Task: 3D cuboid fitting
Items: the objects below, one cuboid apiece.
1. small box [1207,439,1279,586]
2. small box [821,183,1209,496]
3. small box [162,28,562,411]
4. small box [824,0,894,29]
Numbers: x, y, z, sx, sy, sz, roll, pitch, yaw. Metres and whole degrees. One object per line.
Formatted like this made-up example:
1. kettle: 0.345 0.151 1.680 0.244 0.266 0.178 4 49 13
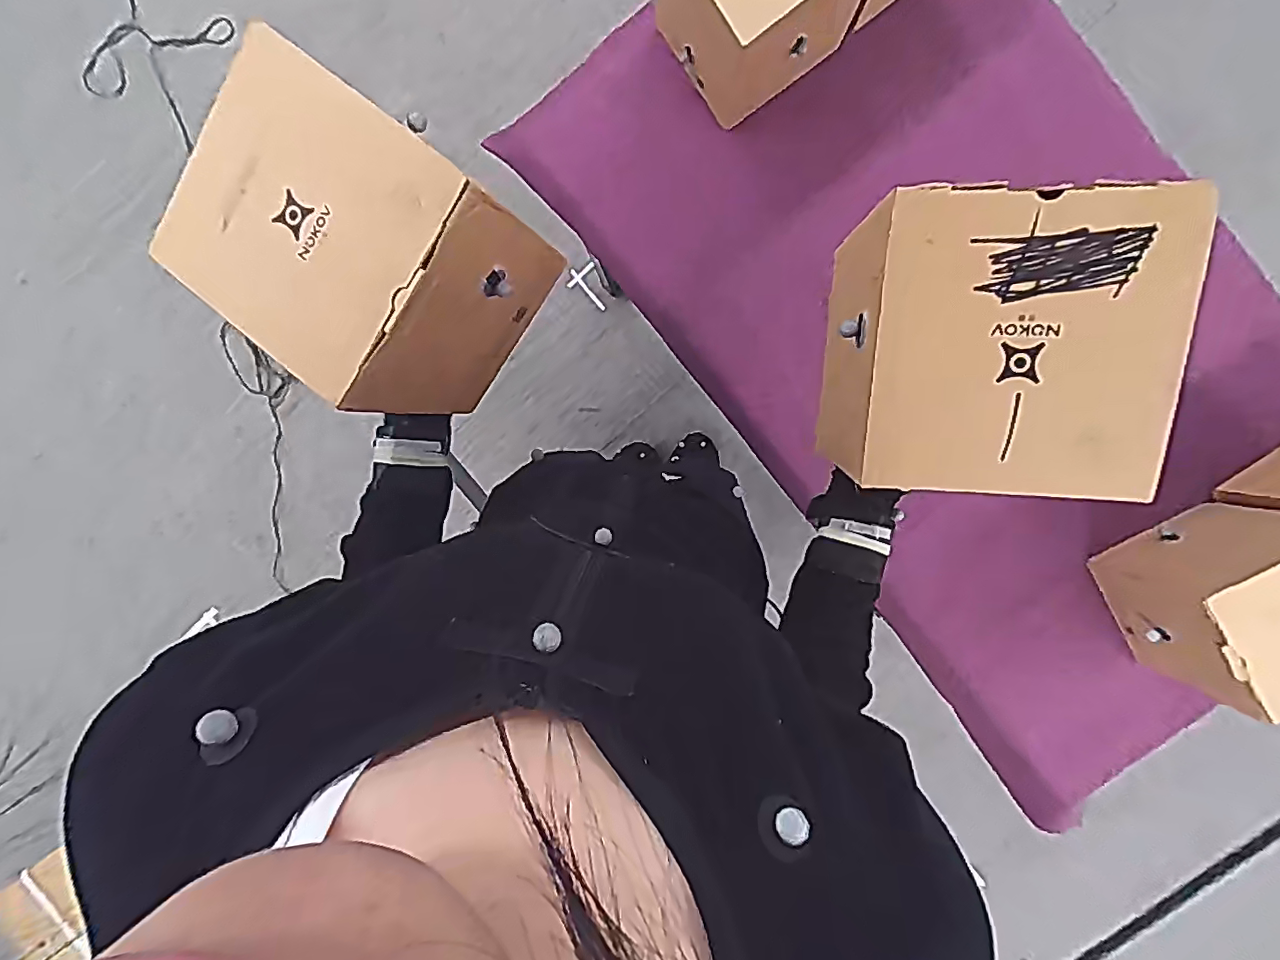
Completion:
1. small box: 0.869 0.035 0.648 0.179 0.176 0.168 -36 94 4
2. small box: 0.236 -0.095 0.396 0.168 0.176 0.179 3 102 8
3. small box: -0.188 -0.168 0.413 0.179 0.176 0.168 38 101 6
4. small box: 0.286 -0.672 0.596 0.179 0.176 0.168 -35 94 6
